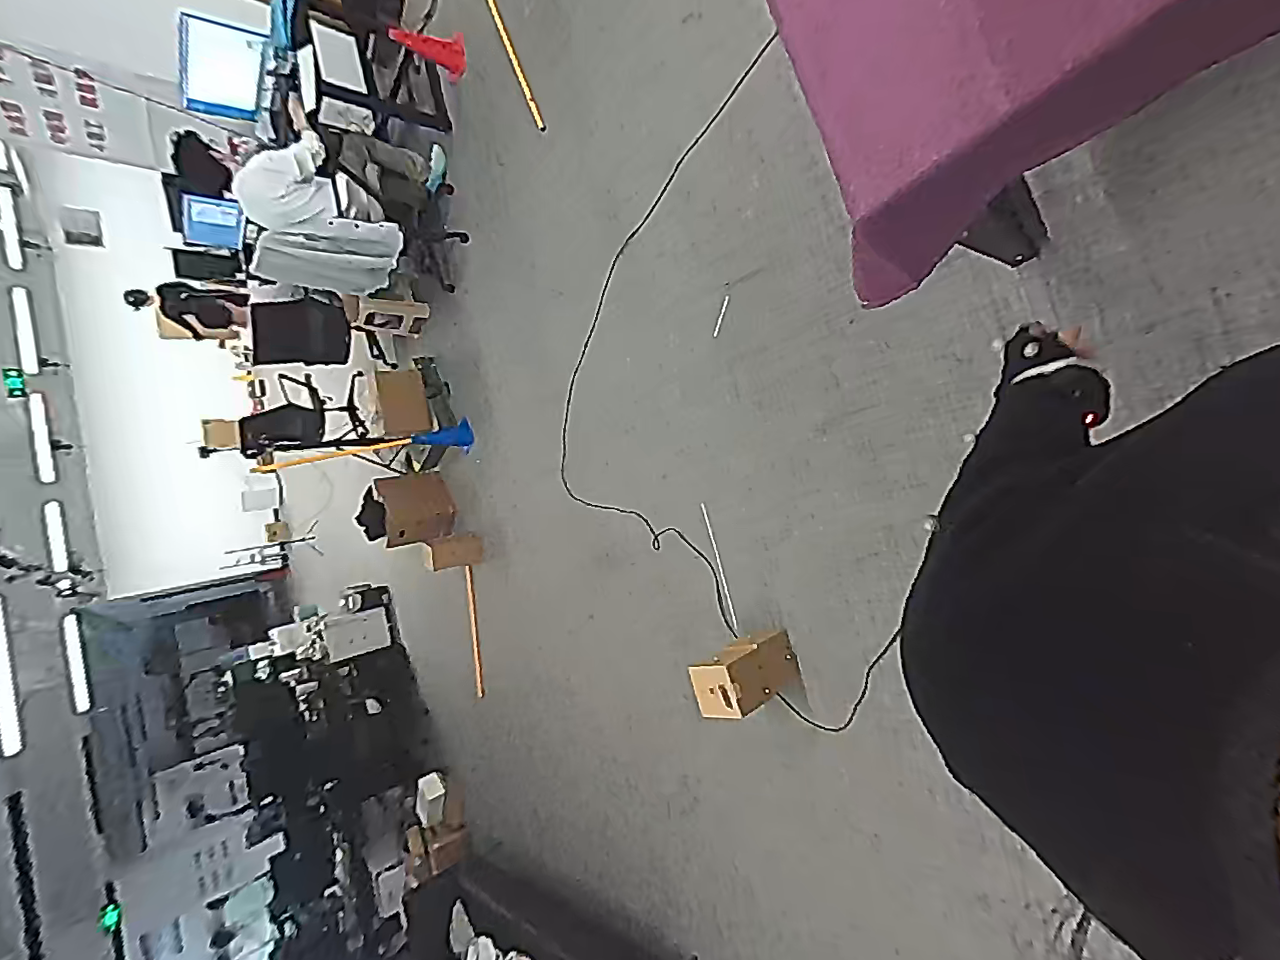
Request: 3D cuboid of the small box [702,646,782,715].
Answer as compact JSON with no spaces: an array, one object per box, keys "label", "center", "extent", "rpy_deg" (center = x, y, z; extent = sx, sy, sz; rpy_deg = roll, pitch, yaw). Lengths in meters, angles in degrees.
[{"label":"small box","center":[0.340,0.652,1.769],"extent":[0.179,0.176,0.168],"rpy_deg":[-26,77,50]}]
